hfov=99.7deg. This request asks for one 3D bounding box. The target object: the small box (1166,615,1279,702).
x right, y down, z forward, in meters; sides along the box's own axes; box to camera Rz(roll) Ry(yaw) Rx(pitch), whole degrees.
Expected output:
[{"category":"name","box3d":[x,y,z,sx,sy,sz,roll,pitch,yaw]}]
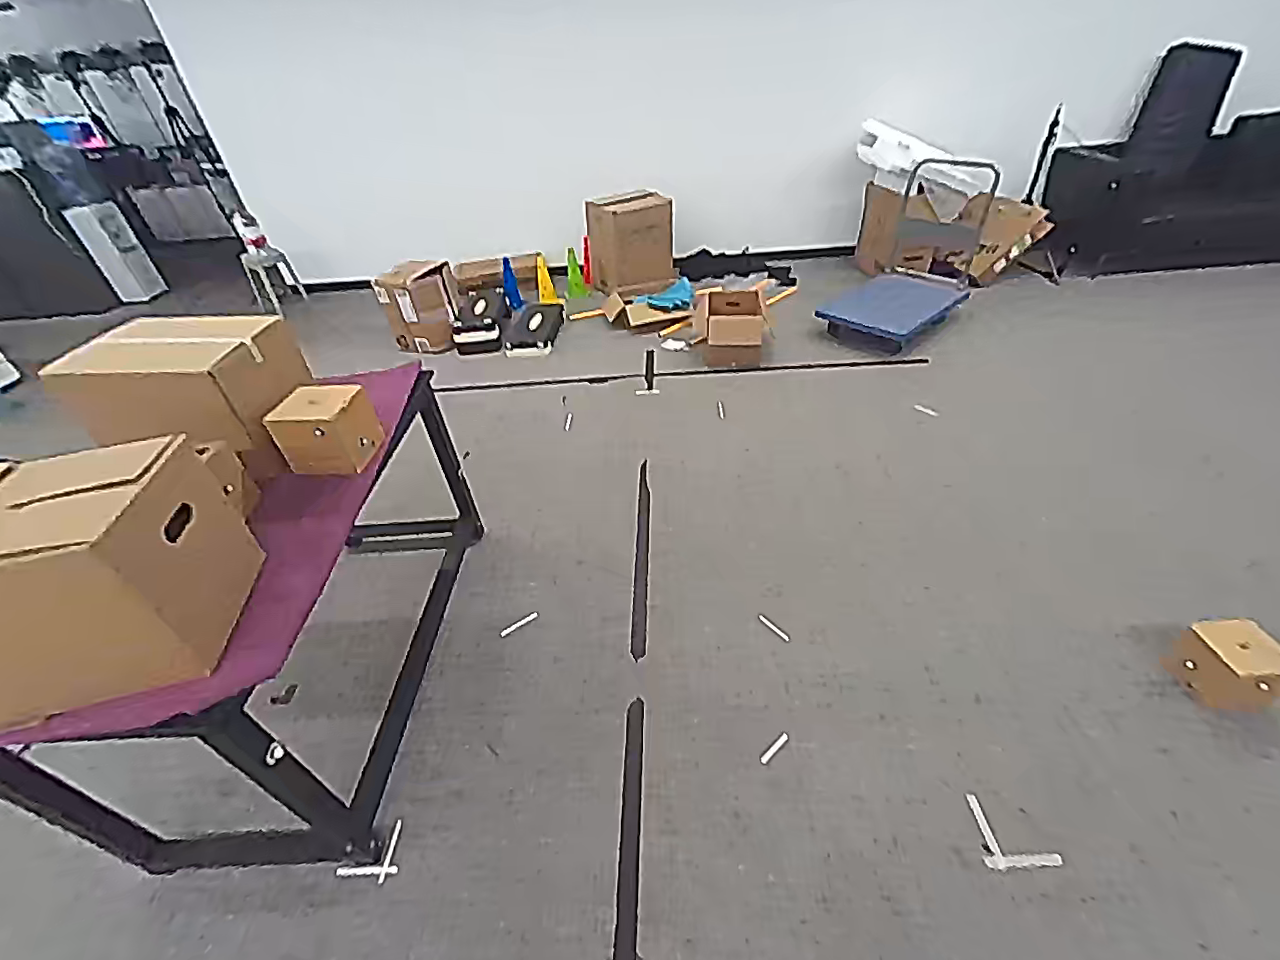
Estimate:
[{"category":"small box","box3d":[1.619,0.494,1.491,0.179,0.176,0.168,-4,39,1]}]
